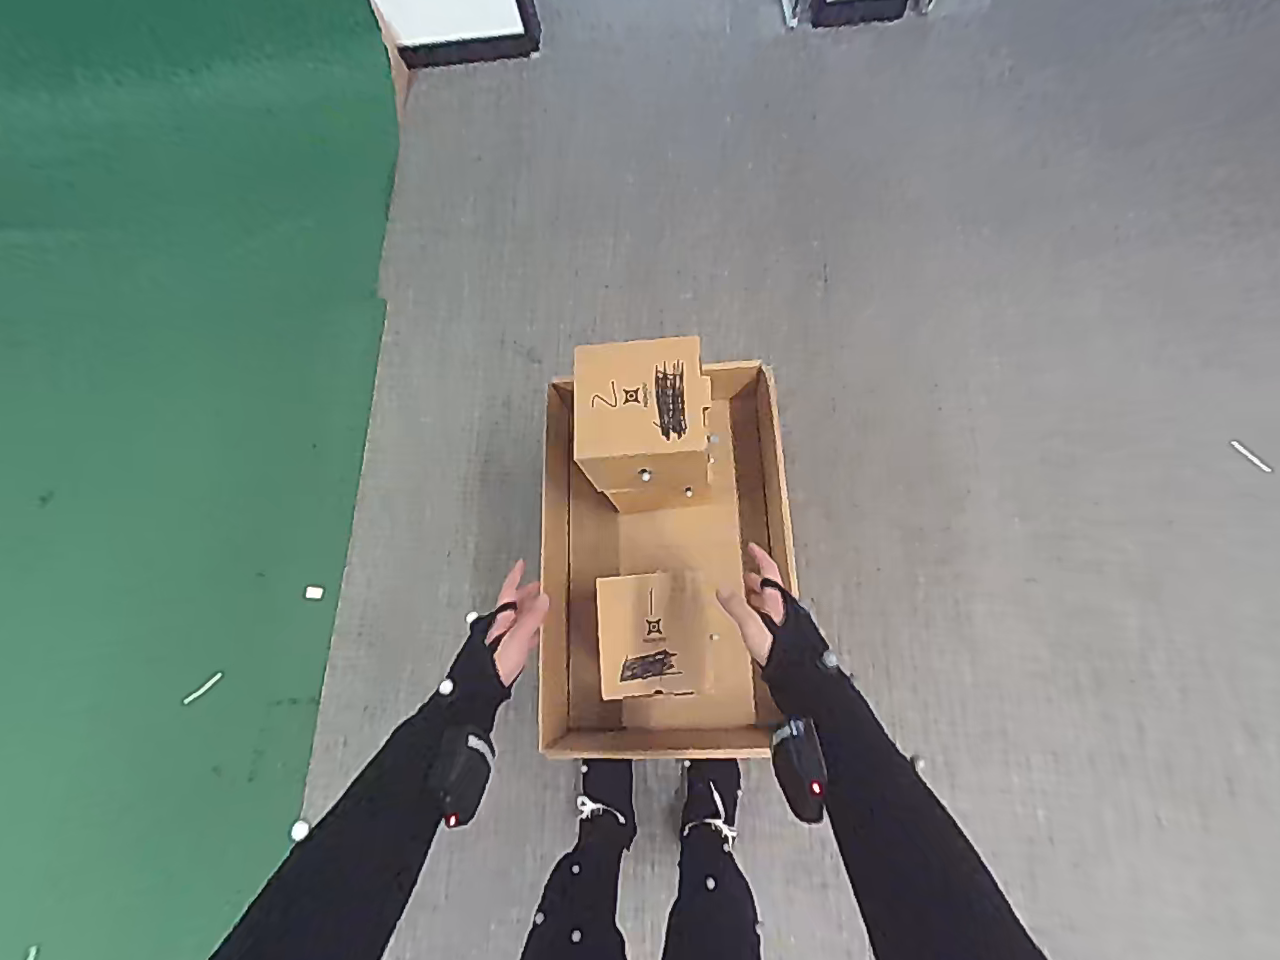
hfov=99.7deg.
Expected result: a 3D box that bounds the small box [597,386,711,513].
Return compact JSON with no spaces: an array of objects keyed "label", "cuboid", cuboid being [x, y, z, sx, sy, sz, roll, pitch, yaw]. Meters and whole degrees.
[{"label":"small box","cuboid":[0.029,-0.045,0.944,0.179,0.176,0.168,-7,73,4]}]
